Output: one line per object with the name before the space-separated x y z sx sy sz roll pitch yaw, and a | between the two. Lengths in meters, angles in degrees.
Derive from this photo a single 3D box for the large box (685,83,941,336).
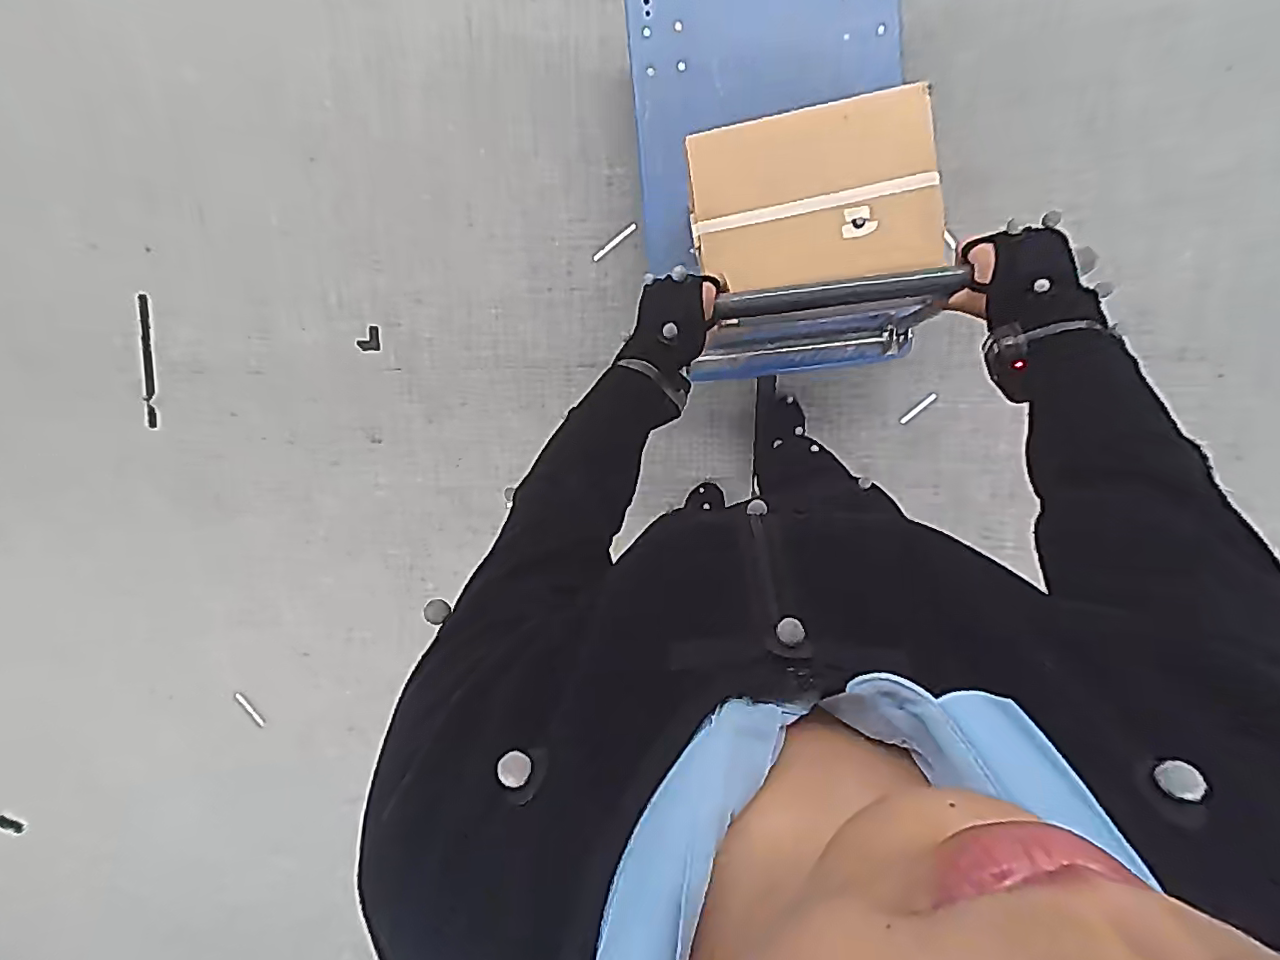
large box | 0.315 -0.500 1.088 0.408 0.320 0.320 -9 97 7
